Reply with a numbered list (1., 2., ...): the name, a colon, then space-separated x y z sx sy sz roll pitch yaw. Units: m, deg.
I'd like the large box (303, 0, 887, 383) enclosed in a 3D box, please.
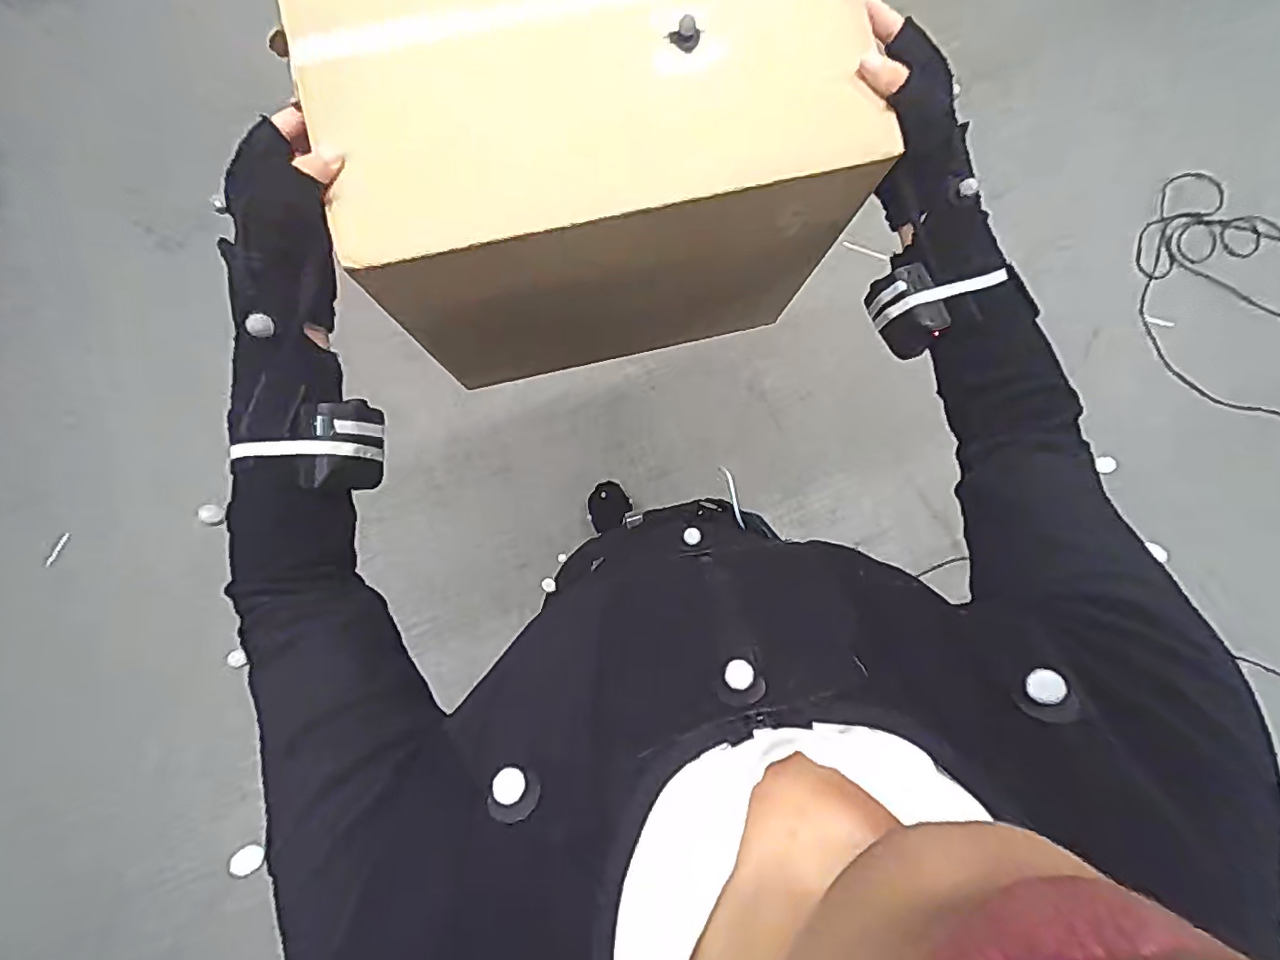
1. large box: -0.051 -0.328 0.550 0.408 0.320 0.320 -14 85 -5
